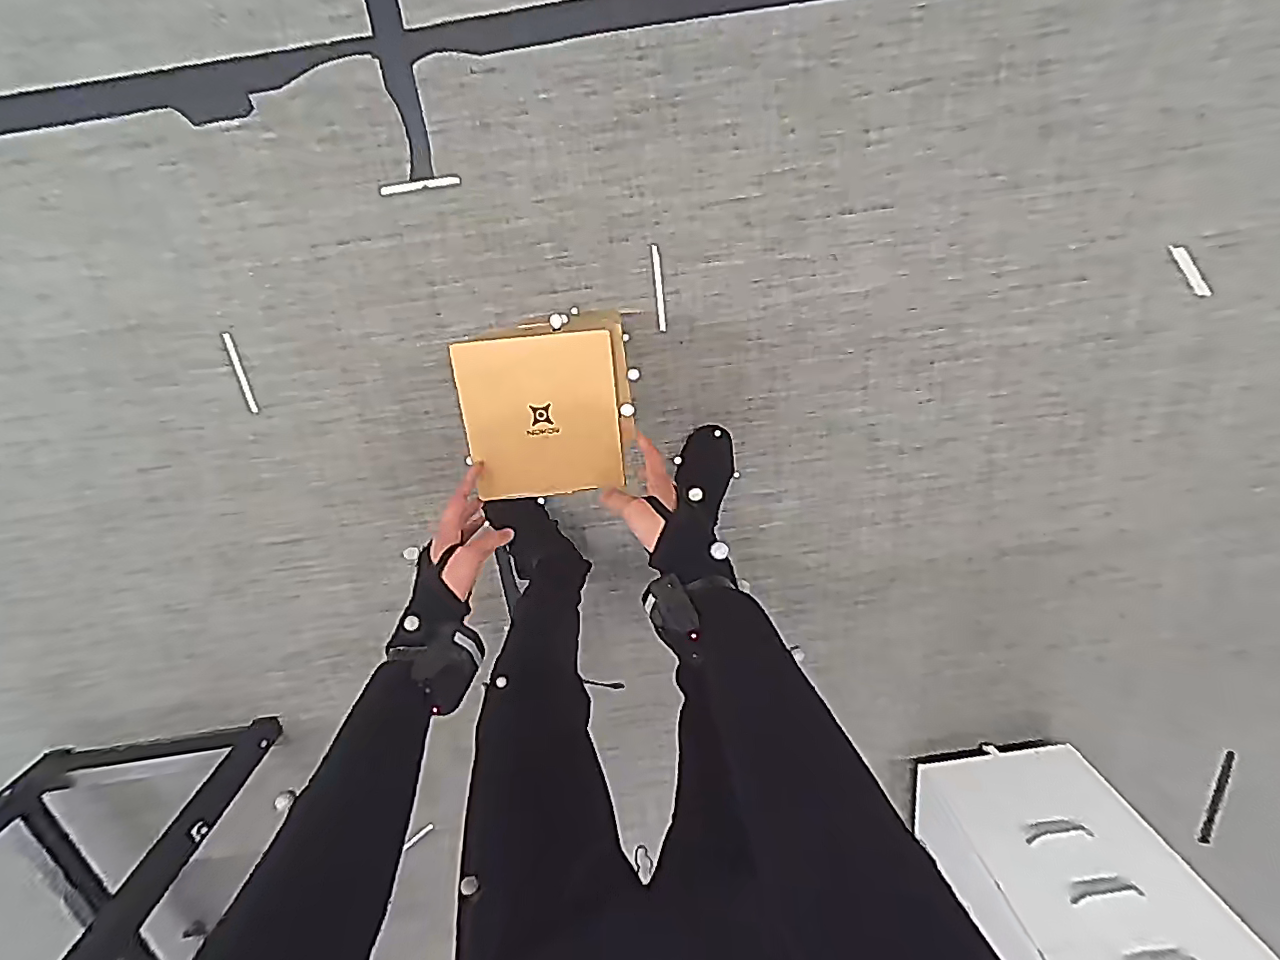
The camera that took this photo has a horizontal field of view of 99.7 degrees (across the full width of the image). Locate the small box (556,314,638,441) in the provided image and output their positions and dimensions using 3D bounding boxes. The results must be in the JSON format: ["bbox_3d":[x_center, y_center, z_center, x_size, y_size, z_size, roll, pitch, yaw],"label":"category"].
[{"bbox_3d":[-0.099,-0.149,0.800,0.179,0.176,0.168,-8,110,-1],"label":"small box"}]

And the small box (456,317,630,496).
[{"bbox_3d":[-0.104,-0.098,0.646,0.168,0.176,0.179,-6,111,-1],"label":"small box"}]
